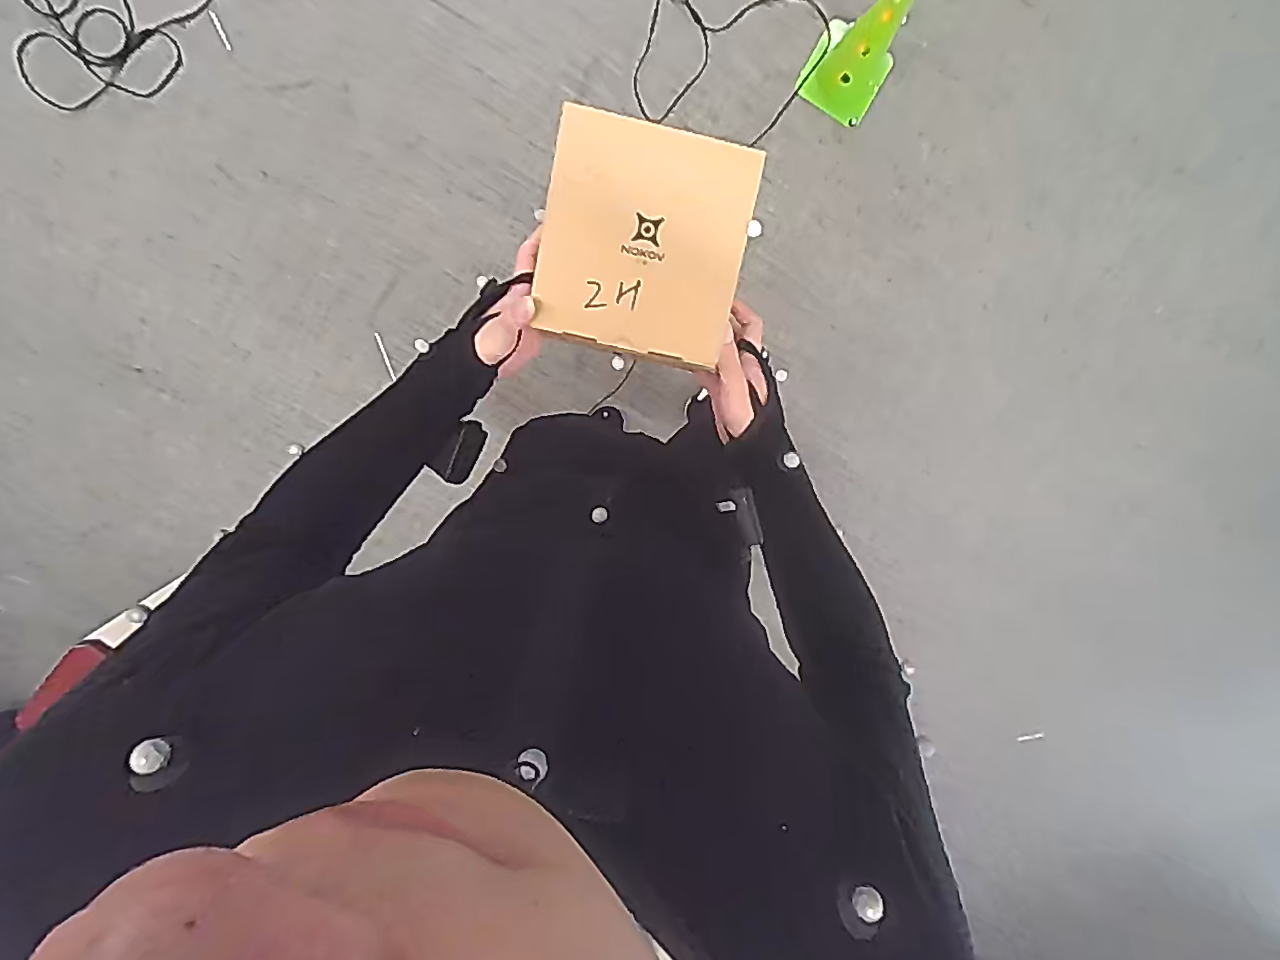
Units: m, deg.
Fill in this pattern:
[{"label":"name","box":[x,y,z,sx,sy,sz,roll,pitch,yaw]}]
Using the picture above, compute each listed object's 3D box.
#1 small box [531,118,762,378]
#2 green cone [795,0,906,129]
[{"label":"small box","box":[0.000,-0.204,0.531,0.168,0.176,0.179,12,100,-5]},{"label":"green cone","box":[0.540,-1.039,1.263,0.202,0.368,0.200,29,98,-6]}]
